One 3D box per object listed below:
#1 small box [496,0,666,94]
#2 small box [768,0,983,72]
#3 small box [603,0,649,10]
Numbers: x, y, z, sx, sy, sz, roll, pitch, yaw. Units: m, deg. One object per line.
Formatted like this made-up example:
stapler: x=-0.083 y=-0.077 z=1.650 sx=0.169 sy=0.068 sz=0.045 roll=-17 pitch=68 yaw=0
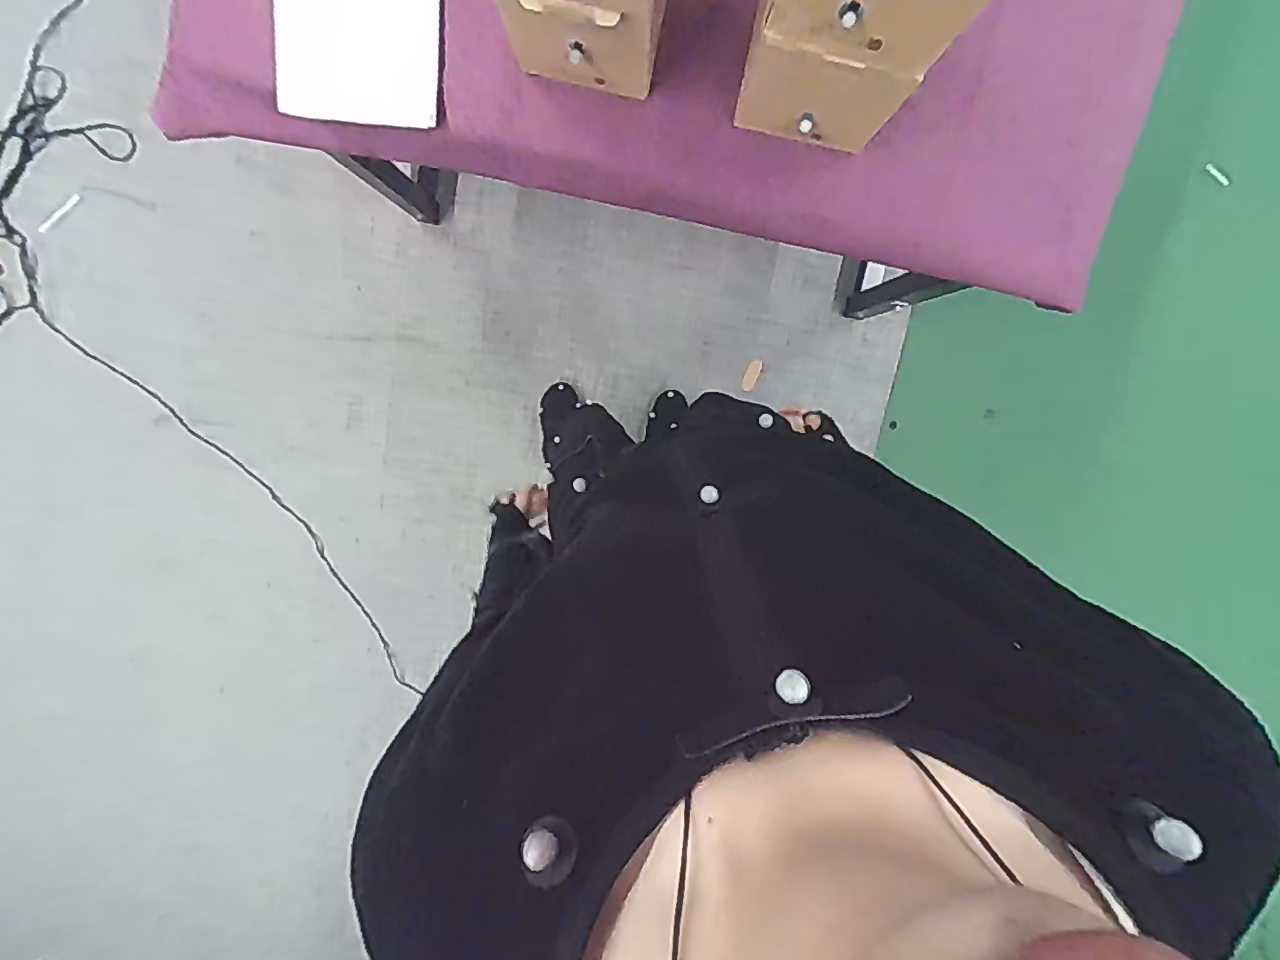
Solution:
small box: x=-0.052 y=-0.569 z=0.592 sx=0.168 sy=0.176 sz=0.179 roll=12 pitch=100 yaw=-3
small box: x=0.217 y=-0.489 z=0.440 sx=0.168 sy=0.176 sz=0.179 roll=12 pitch=99 yaw=-2
small box: x=-0.052 y=-0.535 z=0.430 sx=0.168 sy=0.176 sz=0.179 roll=12 pitch=98 yaw=-2
